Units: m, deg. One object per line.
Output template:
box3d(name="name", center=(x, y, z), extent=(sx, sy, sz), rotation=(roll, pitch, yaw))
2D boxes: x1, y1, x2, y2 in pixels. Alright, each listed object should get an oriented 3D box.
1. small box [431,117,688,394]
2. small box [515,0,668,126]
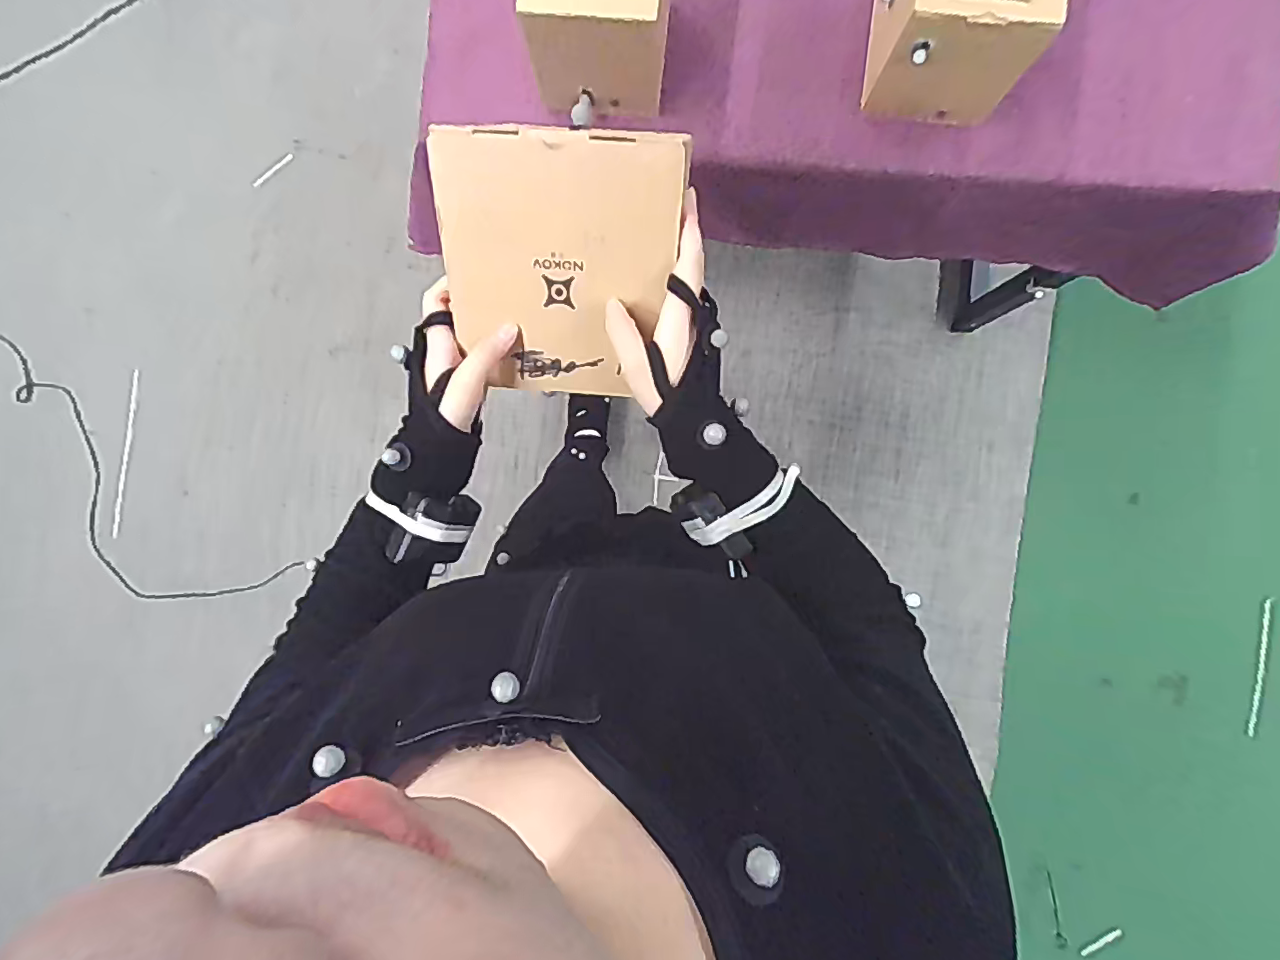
box3d(name="small box", center=(-0.050, -0.190, 0.451), extent=(0.168, 0.176, 0.179), rotation=(6, 123, 4))
box3d(name="small box", center=(-0.052, -0.607, 0.703), extent=(0.168, 0.176, 0.179), rotation=(6, 90, 3))
